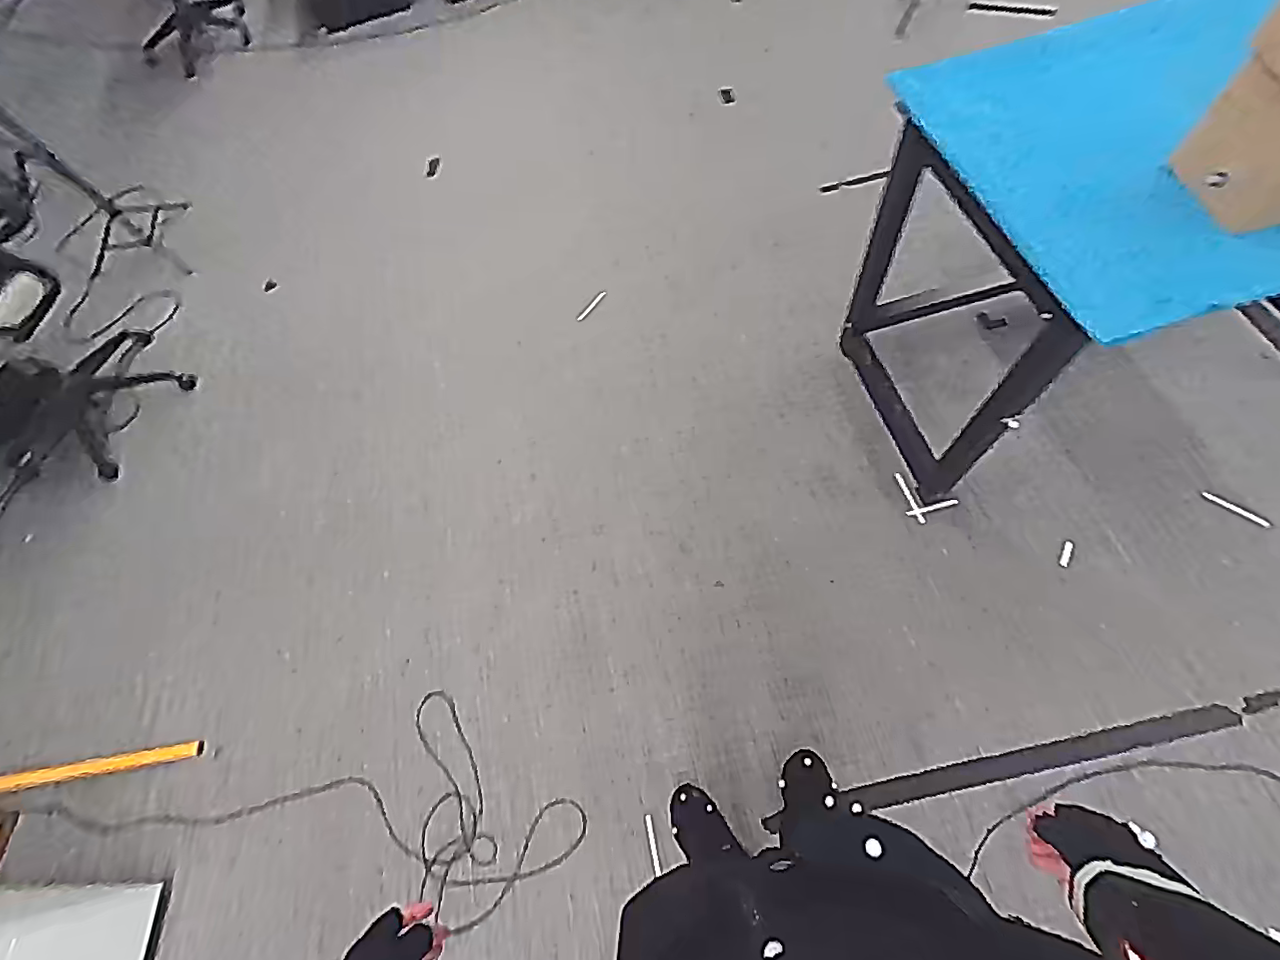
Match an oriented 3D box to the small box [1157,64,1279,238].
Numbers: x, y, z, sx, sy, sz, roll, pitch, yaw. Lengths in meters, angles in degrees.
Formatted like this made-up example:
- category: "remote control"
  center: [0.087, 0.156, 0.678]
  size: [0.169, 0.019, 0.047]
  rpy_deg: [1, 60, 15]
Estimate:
- category: "small box"
  center: [0.934, -0.493, 0.780]
  size: [0.168, 0.176, 0.179]
  rpy_deg: [-11, 65, 3]
